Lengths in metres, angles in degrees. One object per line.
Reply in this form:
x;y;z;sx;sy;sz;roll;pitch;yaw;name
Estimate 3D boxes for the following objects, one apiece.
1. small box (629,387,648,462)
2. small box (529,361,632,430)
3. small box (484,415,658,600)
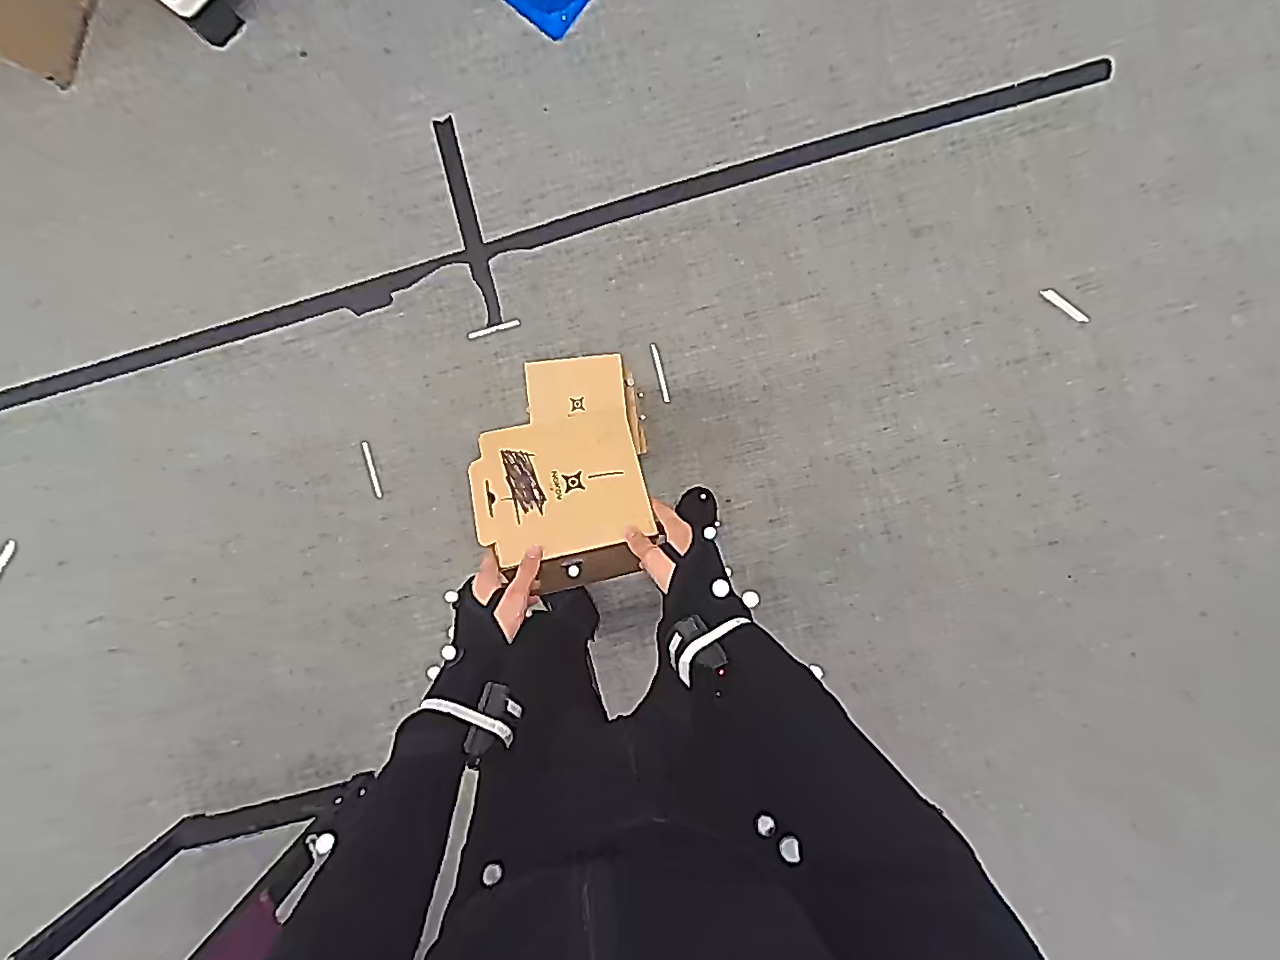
-0.075;-0.123;1.323;0.168;0.176;0.179;-10;93;3;small box
-0.101;-0.113;0.993;0.168;0.176;0.179;-5;93;2;small box
-0.084;0.042;0.681;0.179;0.176;0.168;-11;68;-9;small box
